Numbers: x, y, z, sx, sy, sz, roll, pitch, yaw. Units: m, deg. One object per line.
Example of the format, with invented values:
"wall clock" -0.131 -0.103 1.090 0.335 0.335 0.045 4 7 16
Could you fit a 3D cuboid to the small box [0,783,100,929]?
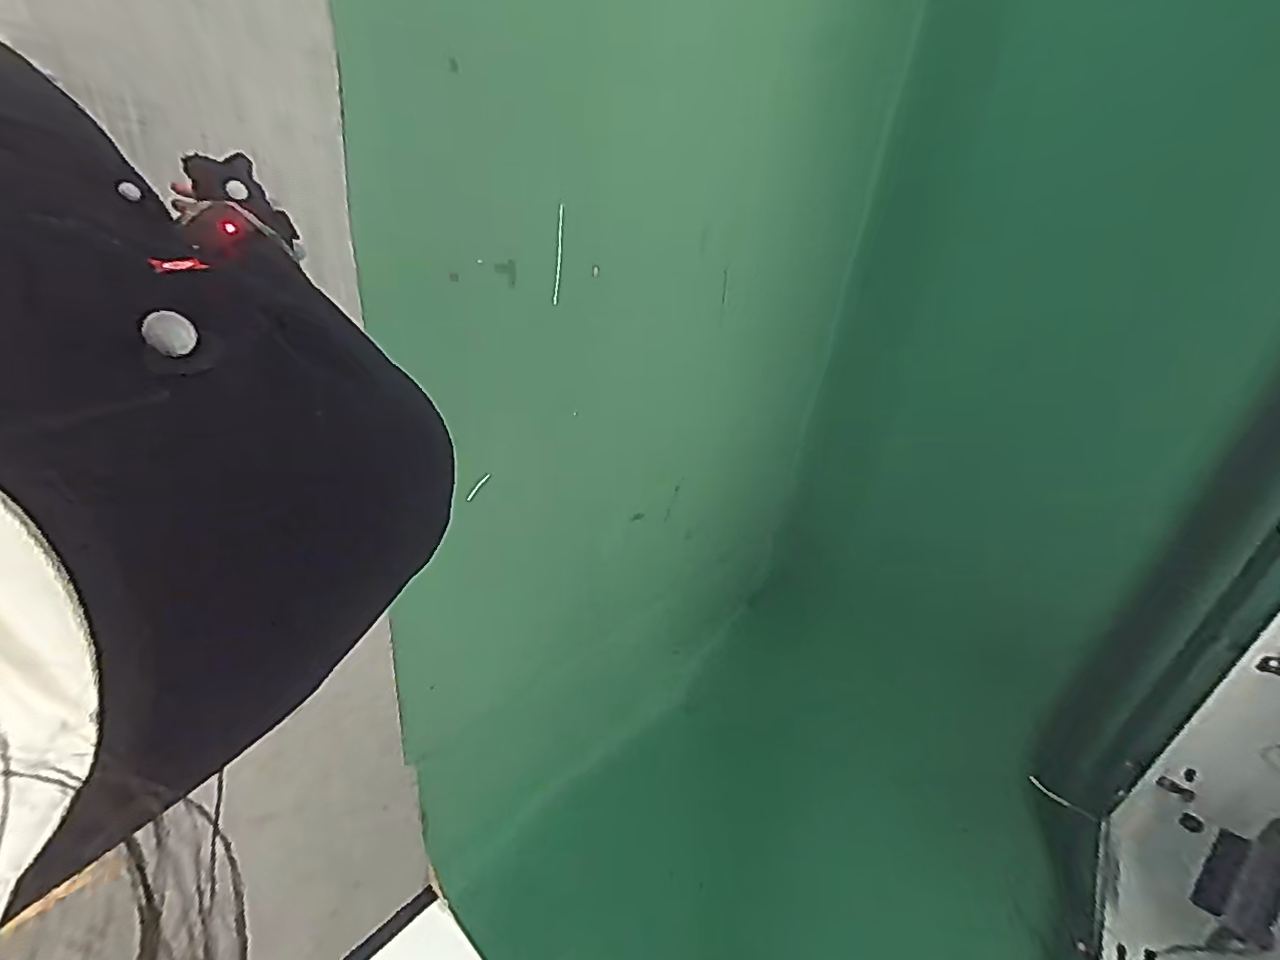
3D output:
"small box" -1.380 0.840 1.220 0.179 0.176 0.168 -26 133 -45
